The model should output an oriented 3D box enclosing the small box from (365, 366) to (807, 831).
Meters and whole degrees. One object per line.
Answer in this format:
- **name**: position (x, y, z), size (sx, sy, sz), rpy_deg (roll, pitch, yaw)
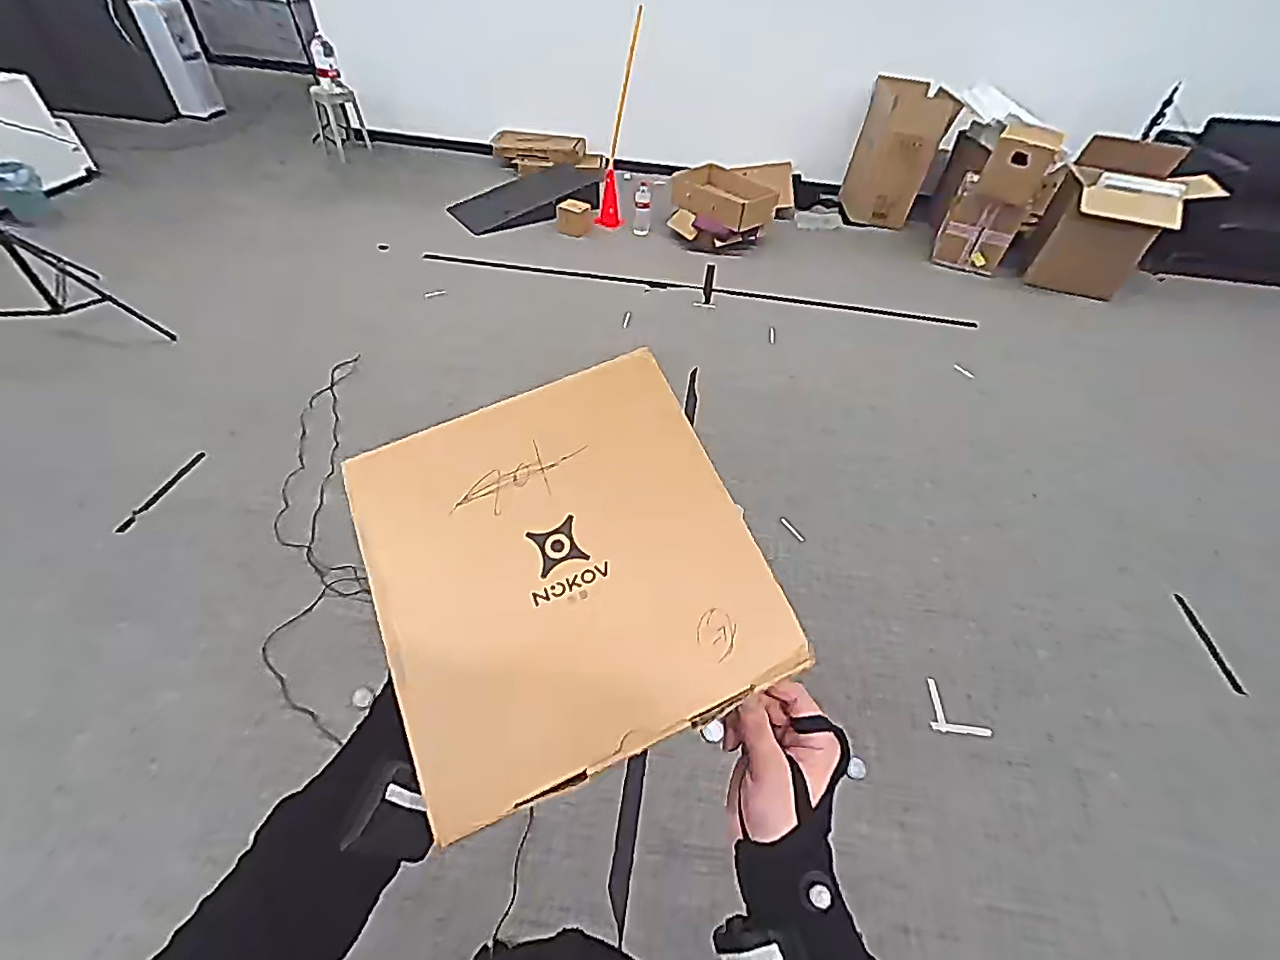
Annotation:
- **small box**: position (-0.031, 0.069, 0.329), size (0.168, 0.176, 0.179), rpy_deg (-22, 67, -10)
